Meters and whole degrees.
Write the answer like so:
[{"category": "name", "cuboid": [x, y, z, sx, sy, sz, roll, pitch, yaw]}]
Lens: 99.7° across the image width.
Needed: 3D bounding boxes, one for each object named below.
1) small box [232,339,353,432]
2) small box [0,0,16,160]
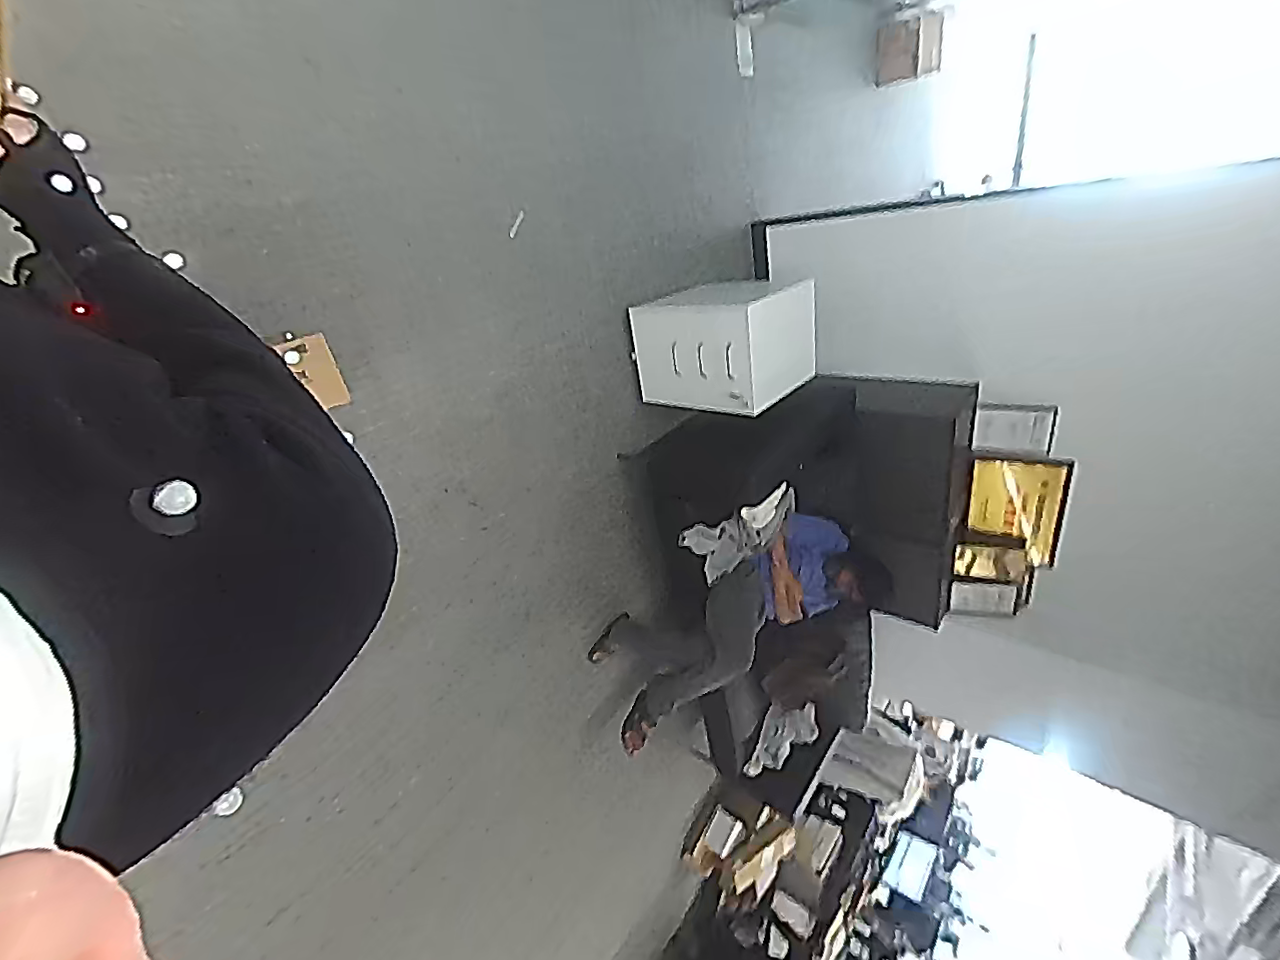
[{"category": "small box", "cuboid": [-0.839, -0.234, 1.308, 0.168, 0.176, 0.179, -35, 125, -40]}, {"category": "small box", "cuboid": [-0.652, -0.385, 0.441, 0.179, 0.176, 0.168, -5, 106, -47]}]
